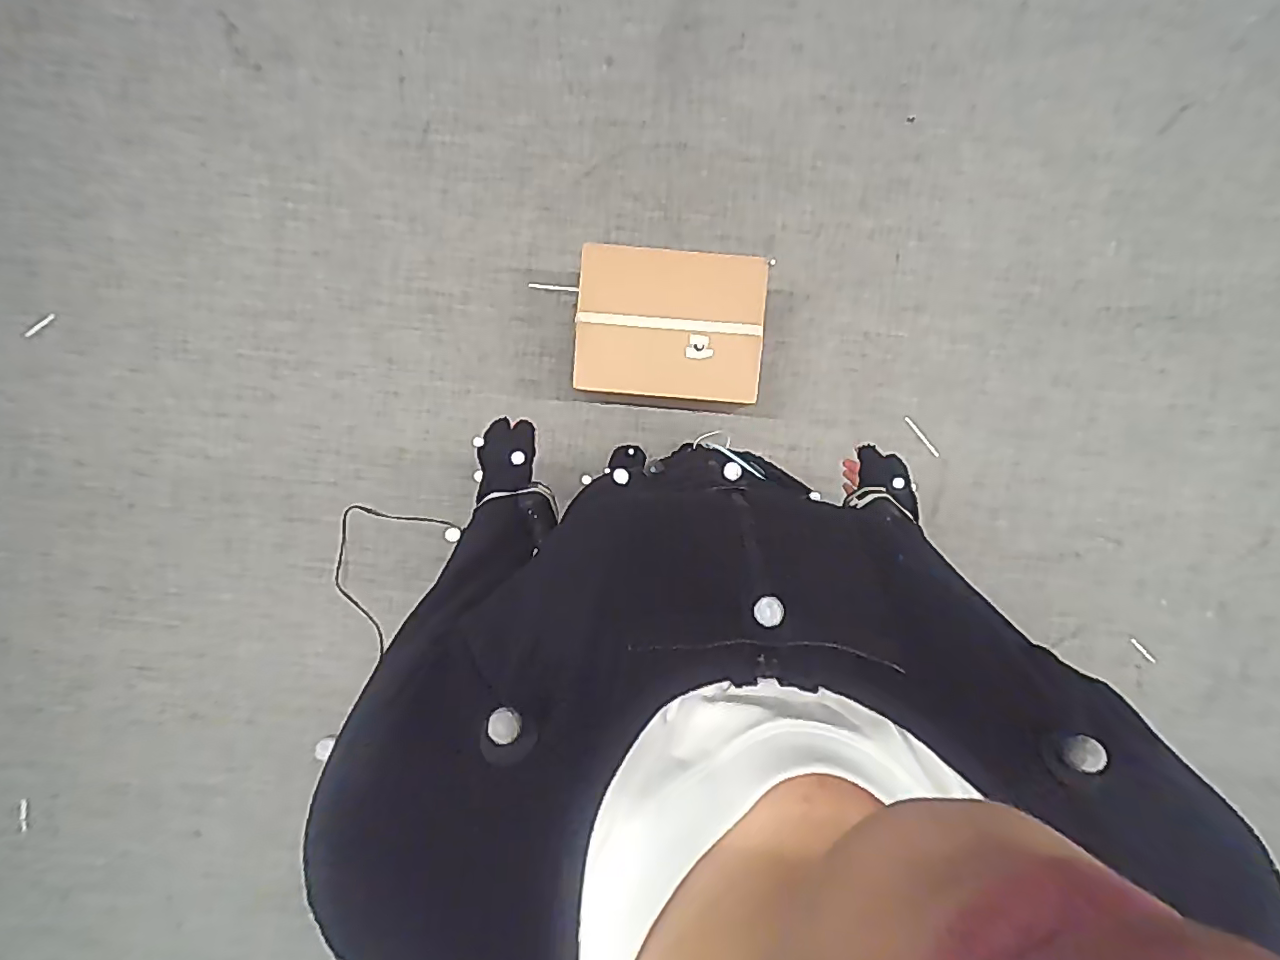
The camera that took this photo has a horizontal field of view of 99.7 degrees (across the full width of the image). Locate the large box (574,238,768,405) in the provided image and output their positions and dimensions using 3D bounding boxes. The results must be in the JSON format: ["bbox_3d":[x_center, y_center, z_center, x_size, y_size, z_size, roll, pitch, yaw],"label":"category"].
[{"bbox_3d":[0.062,-0.359,1.308,0.408,0.320,0.320,5,95,-1],"label":"large box"}]
